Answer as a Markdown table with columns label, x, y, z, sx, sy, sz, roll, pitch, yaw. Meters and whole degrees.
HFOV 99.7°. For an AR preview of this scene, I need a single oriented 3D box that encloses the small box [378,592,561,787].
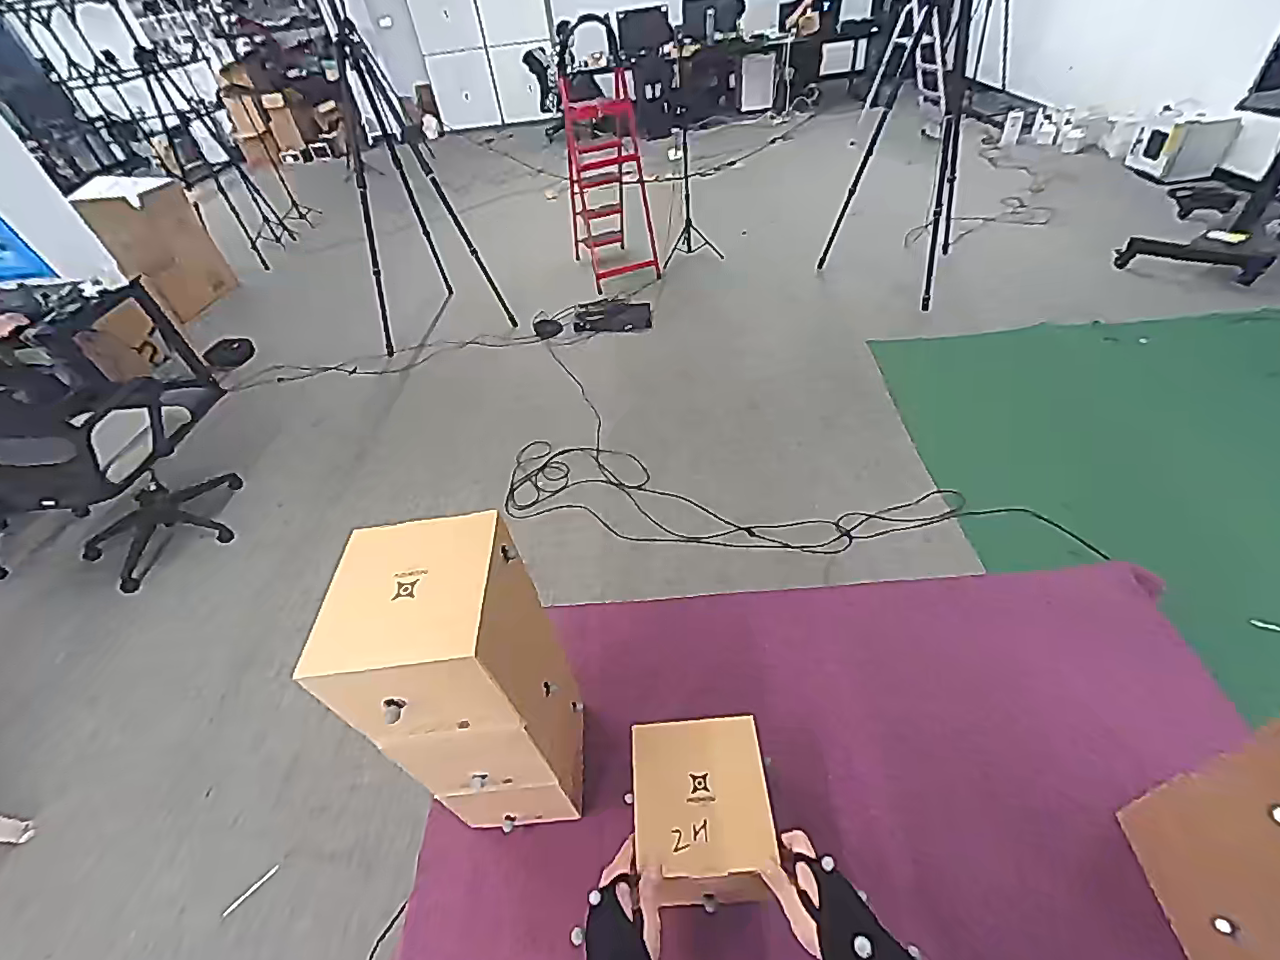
| label | x | y | z | sx | sy | sz | roll | pitch | yaw |
| --- | --- | --- | --- | --- | --- | --- | --- | --- | --- |
| small box | -0.201 | 0.271 | 0.699 | 0.168 | 0.176 | 0.179 | -7 | 45 | 2 |

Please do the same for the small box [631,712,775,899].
| label | x | y | z | sx | sy | sz | roll | pitch | yaw |
| --- | --- | --- | --- | --- | --- | --- | --- | --- | --- |
| small box | 0.077 | 0.435 | 0.724 | 0.168 | 0.176 | 0.179 | -6 | 44 | 3 |

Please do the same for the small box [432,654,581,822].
| label | x | y | z | sx | sy | sz | roll | pitch | yaw |
| --- | --- | --- | --- | --- | --- | --- | --- | --- | --- |
| small box | -0.185 | 0.388 | 0.812 | 0.168 | 0.176 | 0.179 | -7 | 45 | 2 |

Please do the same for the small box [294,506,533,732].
| label | x | y | z | sx | sy | sz | roll | pitch | yaw |
| --- | --- | --- | --- | --- | --- | --- | --- | --- | --- |
| small box | -0.220 | 0.156 | 0.586 | 0.168 | 0.176 | 0.179 | -8 | 44 | 2 |
